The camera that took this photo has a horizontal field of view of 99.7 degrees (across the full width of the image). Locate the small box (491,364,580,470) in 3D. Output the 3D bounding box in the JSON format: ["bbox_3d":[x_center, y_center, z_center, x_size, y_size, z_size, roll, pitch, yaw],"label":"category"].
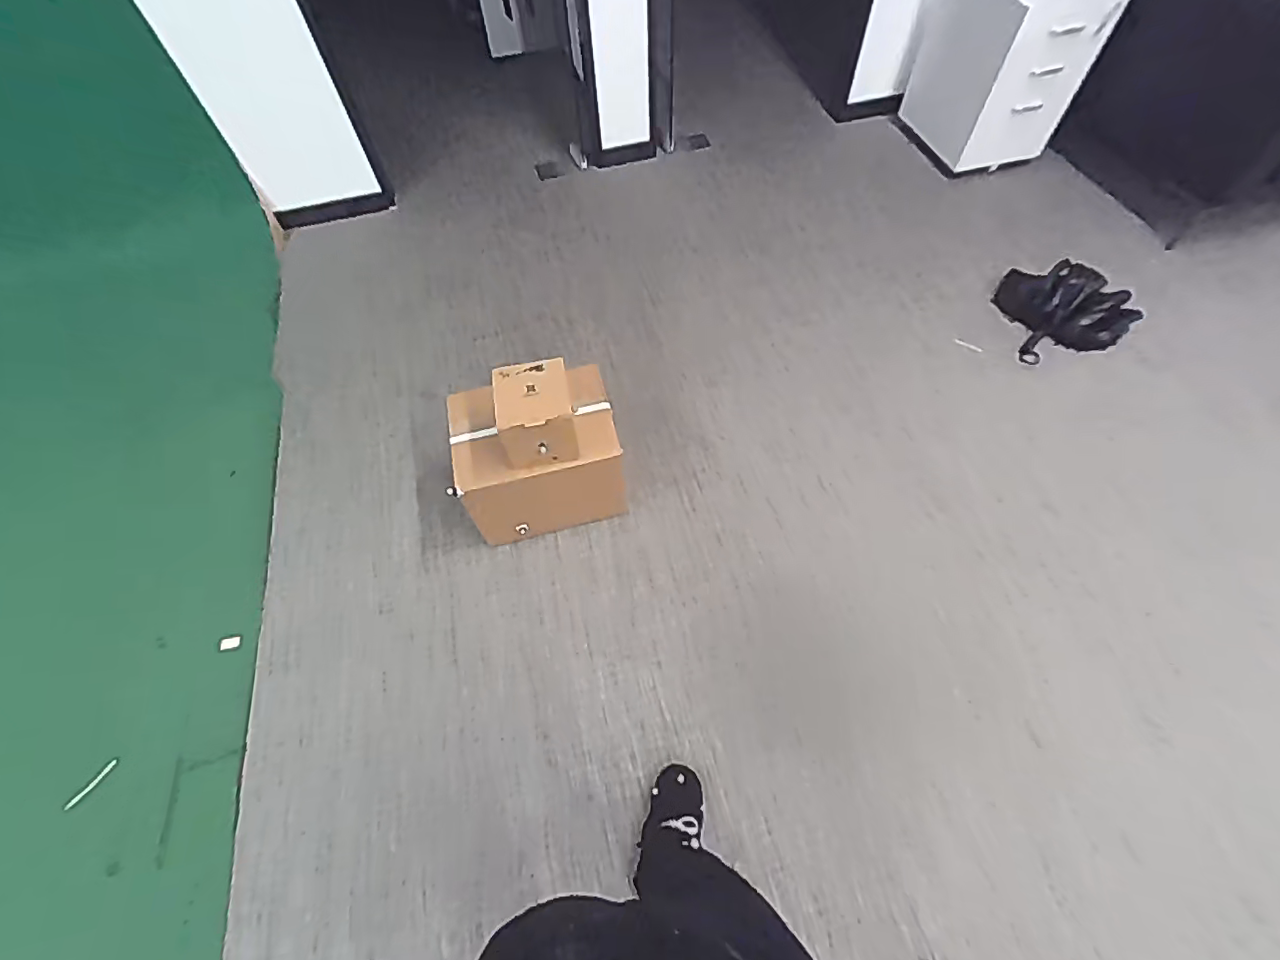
[{"bbox_3d":[-0.240,-0.139,1.265,0.168,0.176,0.179,-12,60,-4],"label":"small box"}]
